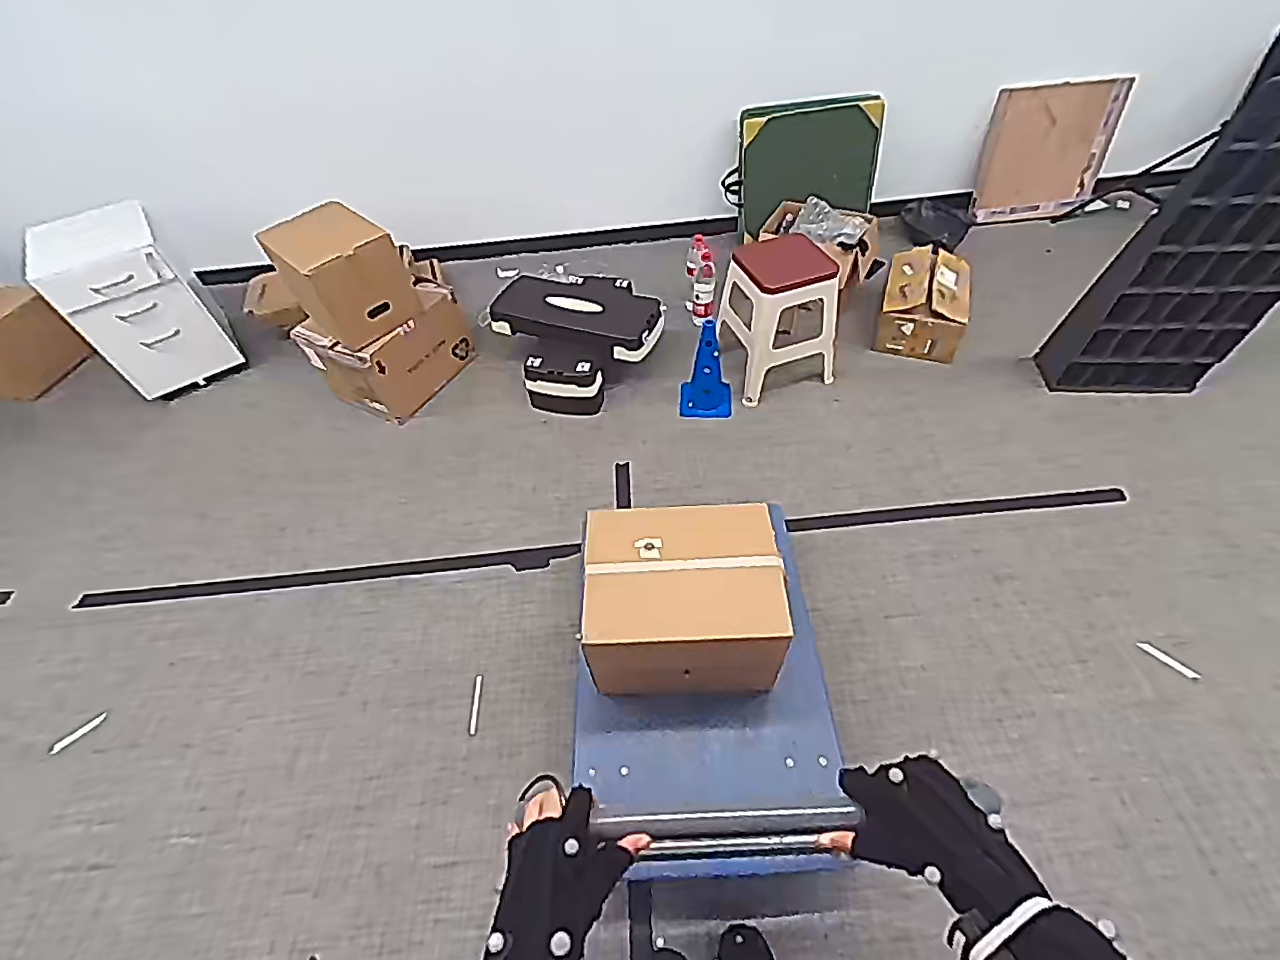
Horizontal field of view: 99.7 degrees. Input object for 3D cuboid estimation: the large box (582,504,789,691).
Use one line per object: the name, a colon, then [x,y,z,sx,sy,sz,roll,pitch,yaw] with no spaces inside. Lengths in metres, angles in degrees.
large box: [0.093,0.278,1.238,0.408,0.320,0.320,-3,51,2]
